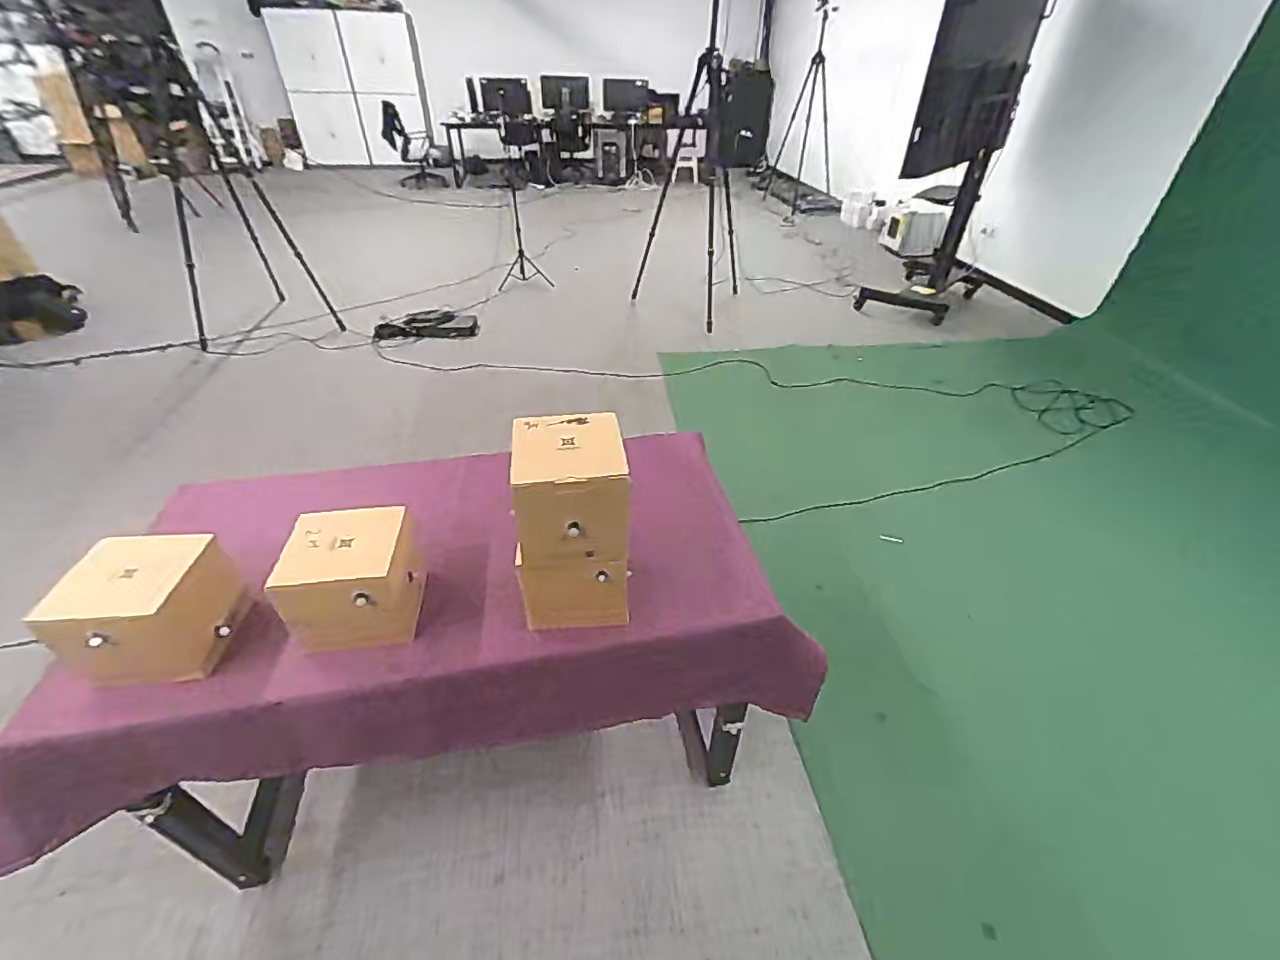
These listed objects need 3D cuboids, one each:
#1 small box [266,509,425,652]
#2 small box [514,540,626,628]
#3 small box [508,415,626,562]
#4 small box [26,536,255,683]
[{"bbox_3d":[-0.480,0.169,0.917,0.179,0.176,0.168,-5,38,-7],"label":"small box"},{"bbox_3d":[-0.117,0.146,0.958,0.179,0.176,0.168,-2,38,-4],"label":"small box"},{"bbox_3d":[-0.111,0.017,0.856,0.168,0.176,0.179,-4,39,-8],"label":"small box"},{"bbox_3d":[-0.773,0.207,0.864,0.179,0.176,0.168,-1,39,-4],"label":"small box"}]
